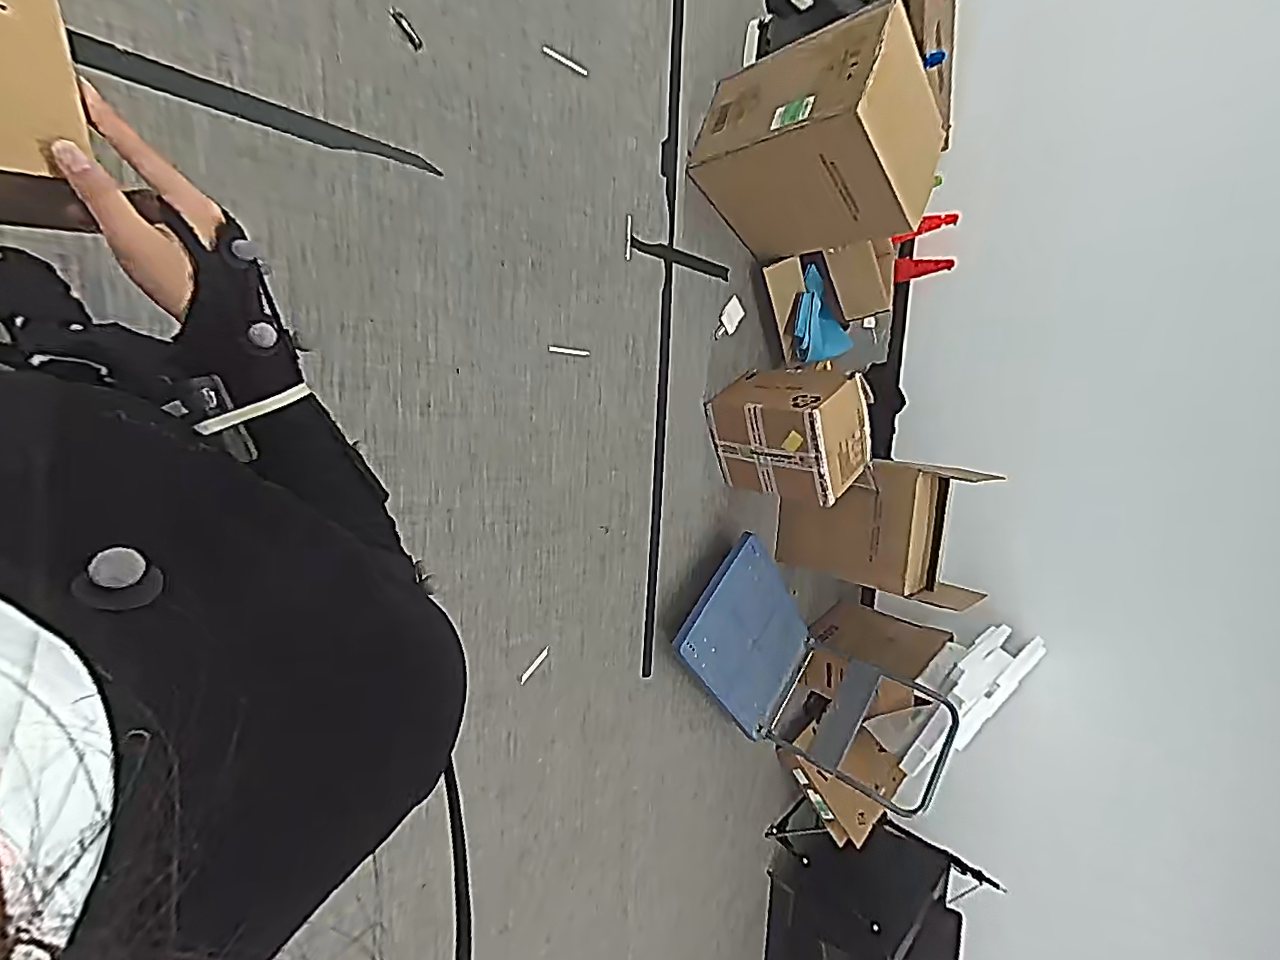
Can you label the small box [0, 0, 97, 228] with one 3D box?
[{"bbox_3d":[-0.433,-0.247,0.293,0.179,0.176,0.168,-14,108,-44],"label":"small box"}]
